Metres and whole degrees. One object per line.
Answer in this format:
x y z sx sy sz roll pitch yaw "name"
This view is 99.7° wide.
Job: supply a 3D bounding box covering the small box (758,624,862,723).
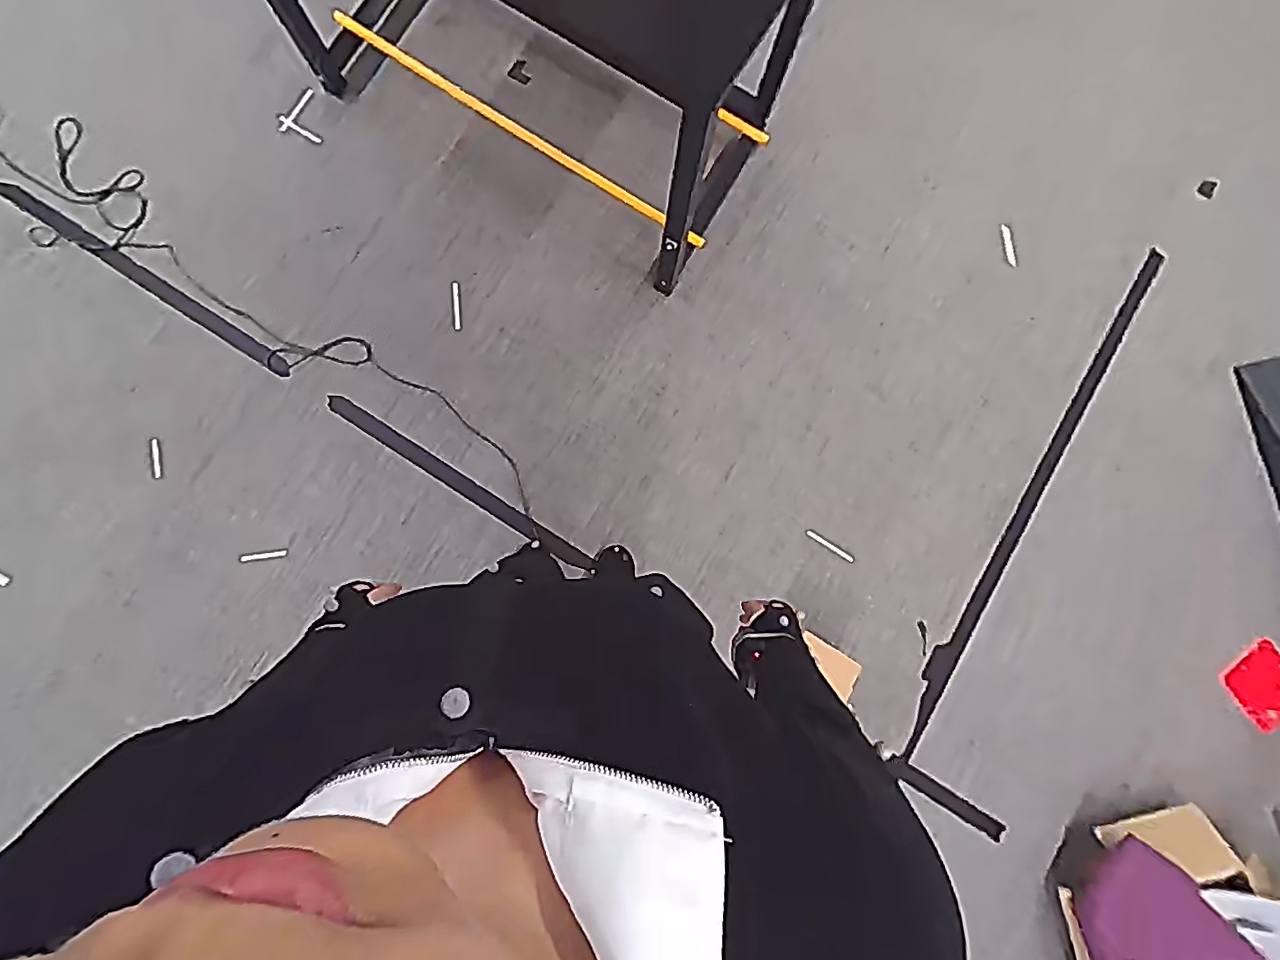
0.437 0.495 1.418 0.179 0.176 0.168 32 83 2 "small box"
